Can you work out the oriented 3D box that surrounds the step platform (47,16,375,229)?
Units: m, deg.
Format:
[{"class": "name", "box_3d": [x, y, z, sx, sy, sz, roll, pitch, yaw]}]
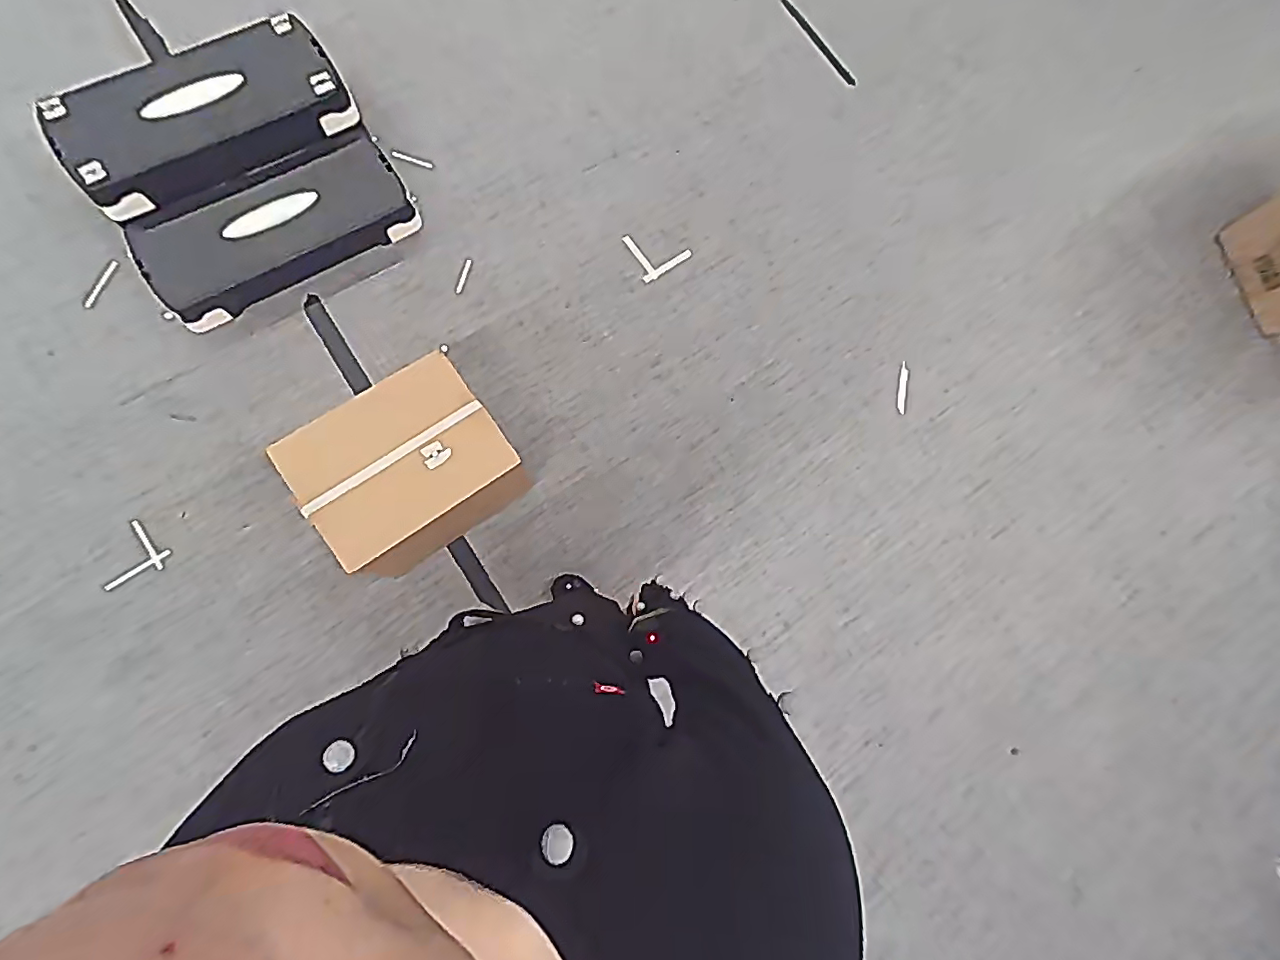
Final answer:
[{"class": "step platform", "box_3d": [-1.092, -0.937, 1.414, 0.684, 0.204, 0.286, -28, 84, -12]}]

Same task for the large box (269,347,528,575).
[{"class": "large box", "box_3d": [-0.521, -0.025, 1.257, 0.408, 0.320, 0.320, -36, 86, -13]}]
